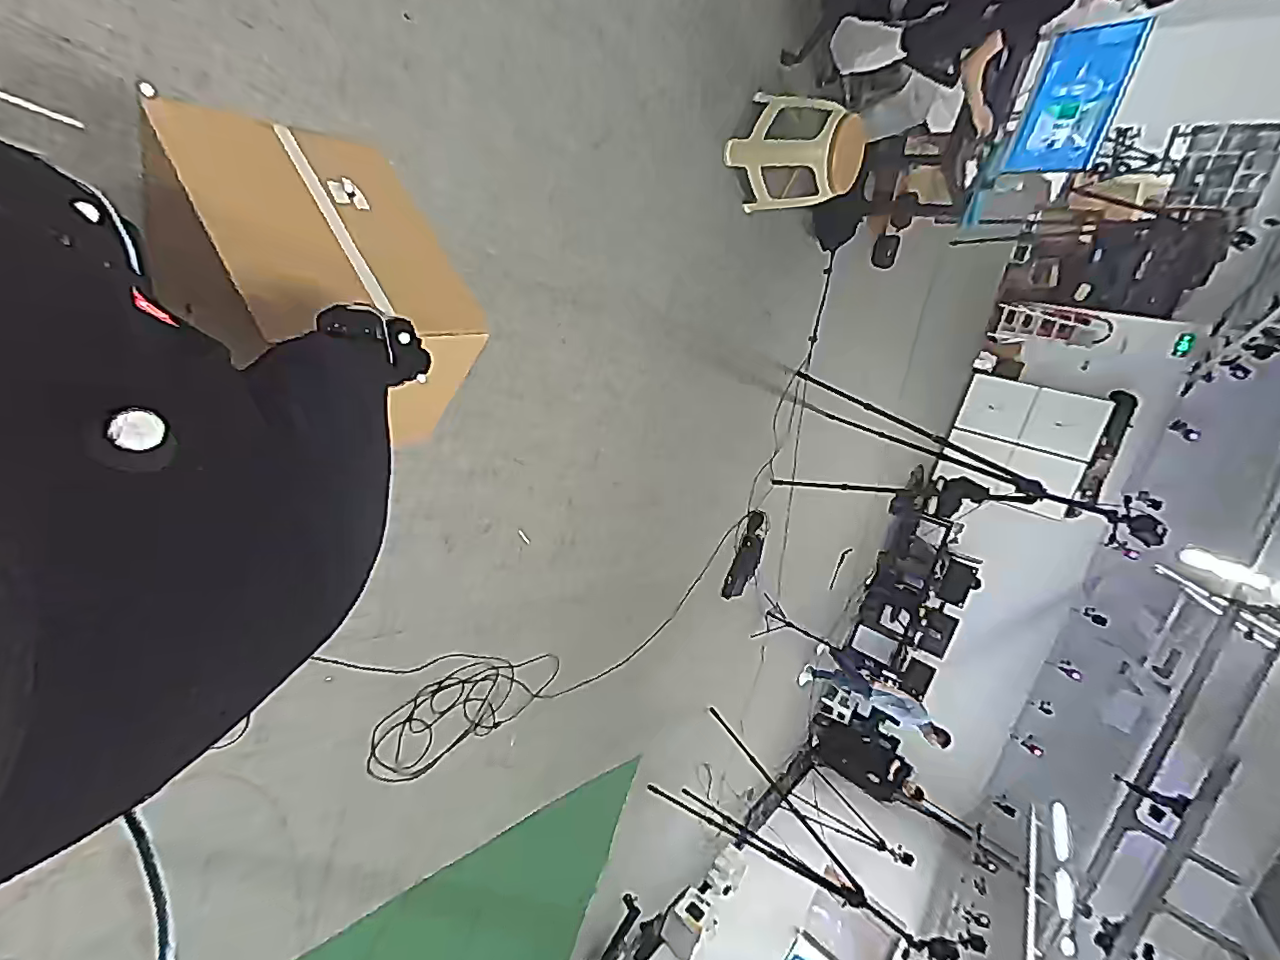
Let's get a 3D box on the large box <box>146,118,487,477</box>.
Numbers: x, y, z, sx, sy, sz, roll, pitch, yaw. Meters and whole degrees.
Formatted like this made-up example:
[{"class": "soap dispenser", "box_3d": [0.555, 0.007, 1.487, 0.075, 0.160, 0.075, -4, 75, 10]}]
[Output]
[{"class": "large box", "box_3d": [-0.525, -0.274, 0.879, 0.320, 0.408, 0.320, -21, 163, -48]}]
